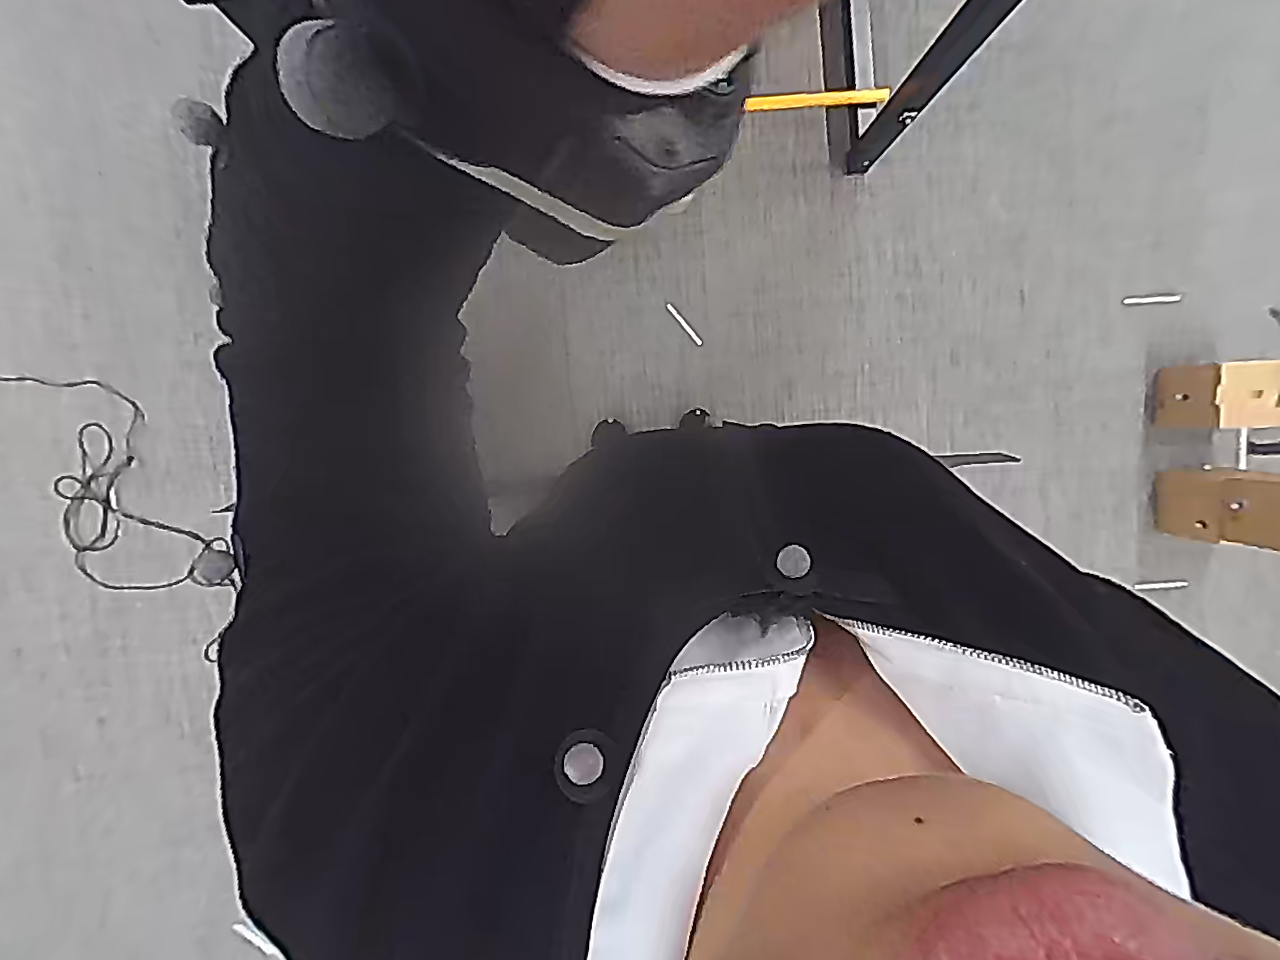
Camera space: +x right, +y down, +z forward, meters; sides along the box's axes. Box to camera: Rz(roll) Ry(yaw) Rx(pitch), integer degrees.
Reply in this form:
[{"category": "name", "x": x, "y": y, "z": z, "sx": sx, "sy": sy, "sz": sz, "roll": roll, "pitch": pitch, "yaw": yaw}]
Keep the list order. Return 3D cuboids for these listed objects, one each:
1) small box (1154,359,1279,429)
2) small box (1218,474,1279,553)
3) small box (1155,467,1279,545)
[{"category": "small box", "x": 1.500, "y": -0.219, "z": 1.408, "sx": 0.179, "sy": 0.176, "sz": 0.168, "roll": -2, "pitch": 96, "yaw": 0}, {"category": "small box", "x": 1.542, "y": 0.076, "z": 1.276, "sx": 0.179, "sy": 0.176, "sz": 0.168, "roll": -3, "pitch": 95, "yaw": 1}, {"category": "small box", "x": 1.529, "y": 0.064, "z": 1.438, "sx": 0.168, "sy": 0.176, "sz": 0.179, "roll": -5, "pitch": 96, "yaw": 0}]
